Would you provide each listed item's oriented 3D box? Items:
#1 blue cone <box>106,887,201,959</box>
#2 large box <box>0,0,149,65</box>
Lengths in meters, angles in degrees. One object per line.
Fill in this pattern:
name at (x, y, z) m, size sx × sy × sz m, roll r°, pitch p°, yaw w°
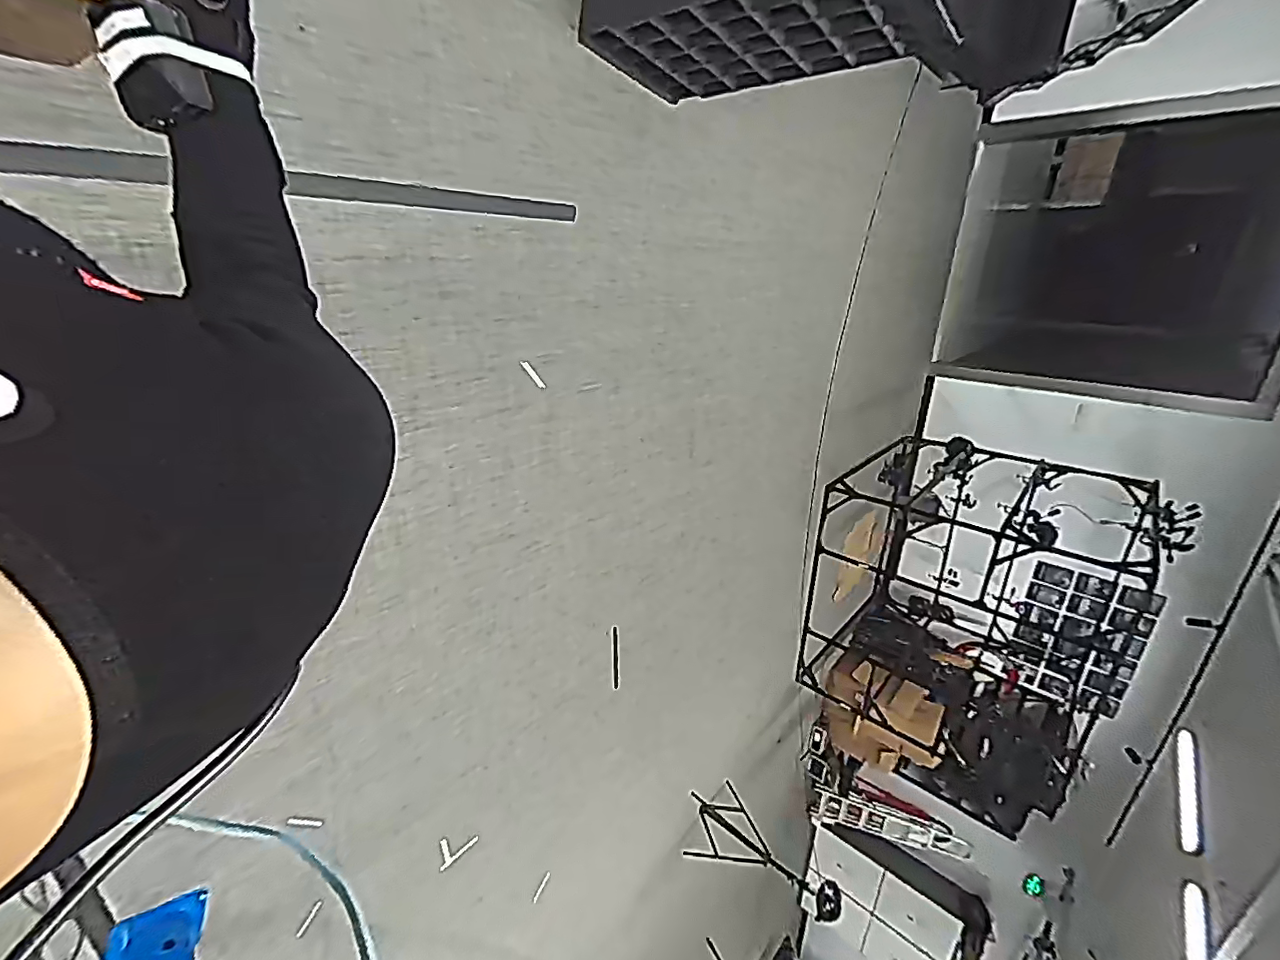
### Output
blue cone at (-1.160, 1.239, 1.326) m, size 0.193 × 0.380 × 0.192 m, roll 8°, pitch 98°, yaw -52°
large box at (-0.577, -0.464, 0.263) m, size 0.408 × 0.320 × 0.320 m, roll -22°, pitch 125°, yaw -48°
